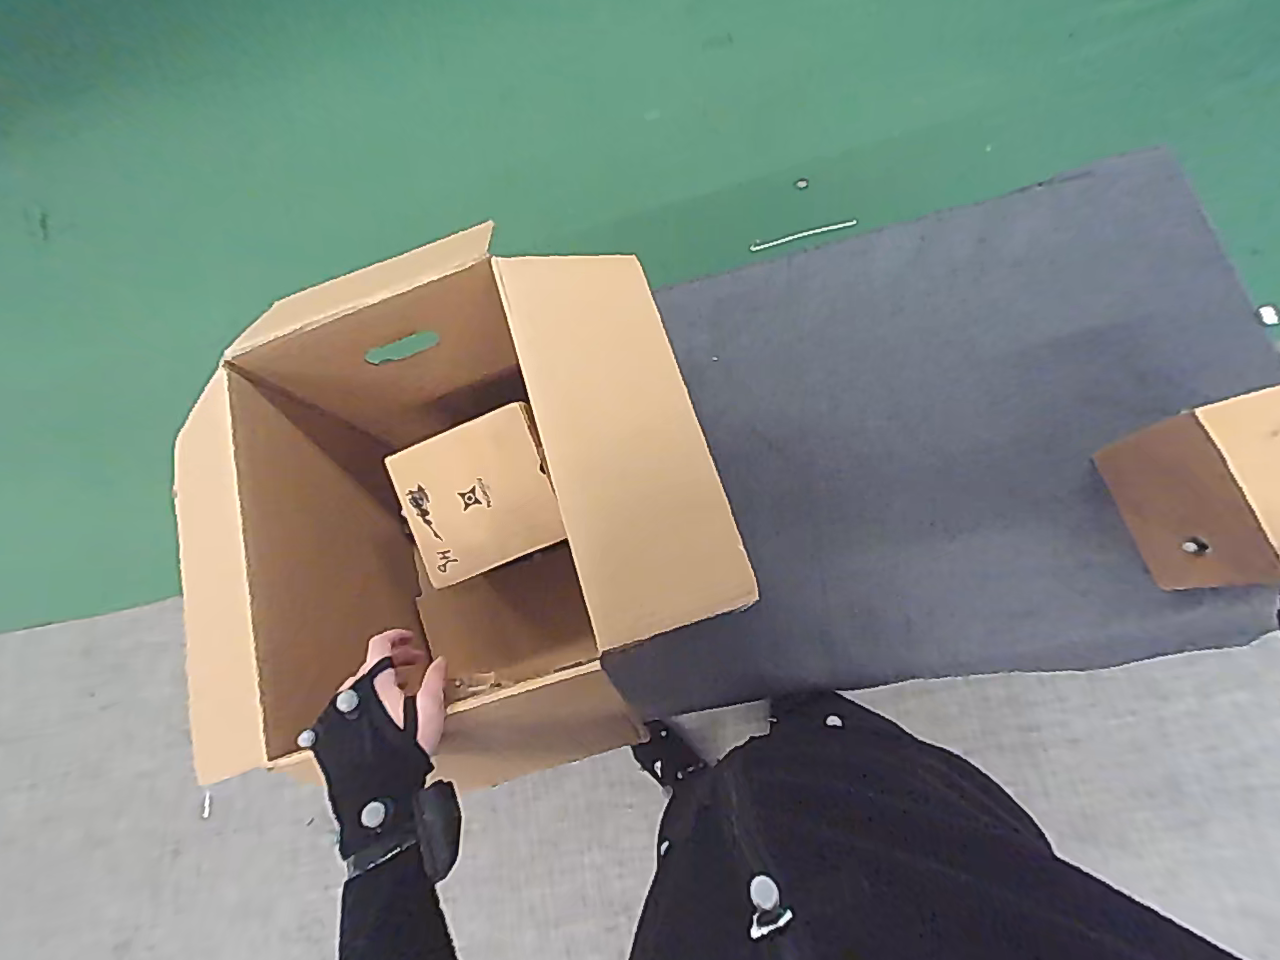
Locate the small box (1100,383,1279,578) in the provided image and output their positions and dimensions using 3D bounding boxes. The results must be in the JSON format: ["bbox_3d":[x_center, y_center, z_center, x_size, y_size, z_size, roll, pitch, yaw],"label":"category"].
[{"bbox_3d":[0.661,0.003,0.579,0.168,0.176,0.179,-16,73,6],"label":"small box"}]
